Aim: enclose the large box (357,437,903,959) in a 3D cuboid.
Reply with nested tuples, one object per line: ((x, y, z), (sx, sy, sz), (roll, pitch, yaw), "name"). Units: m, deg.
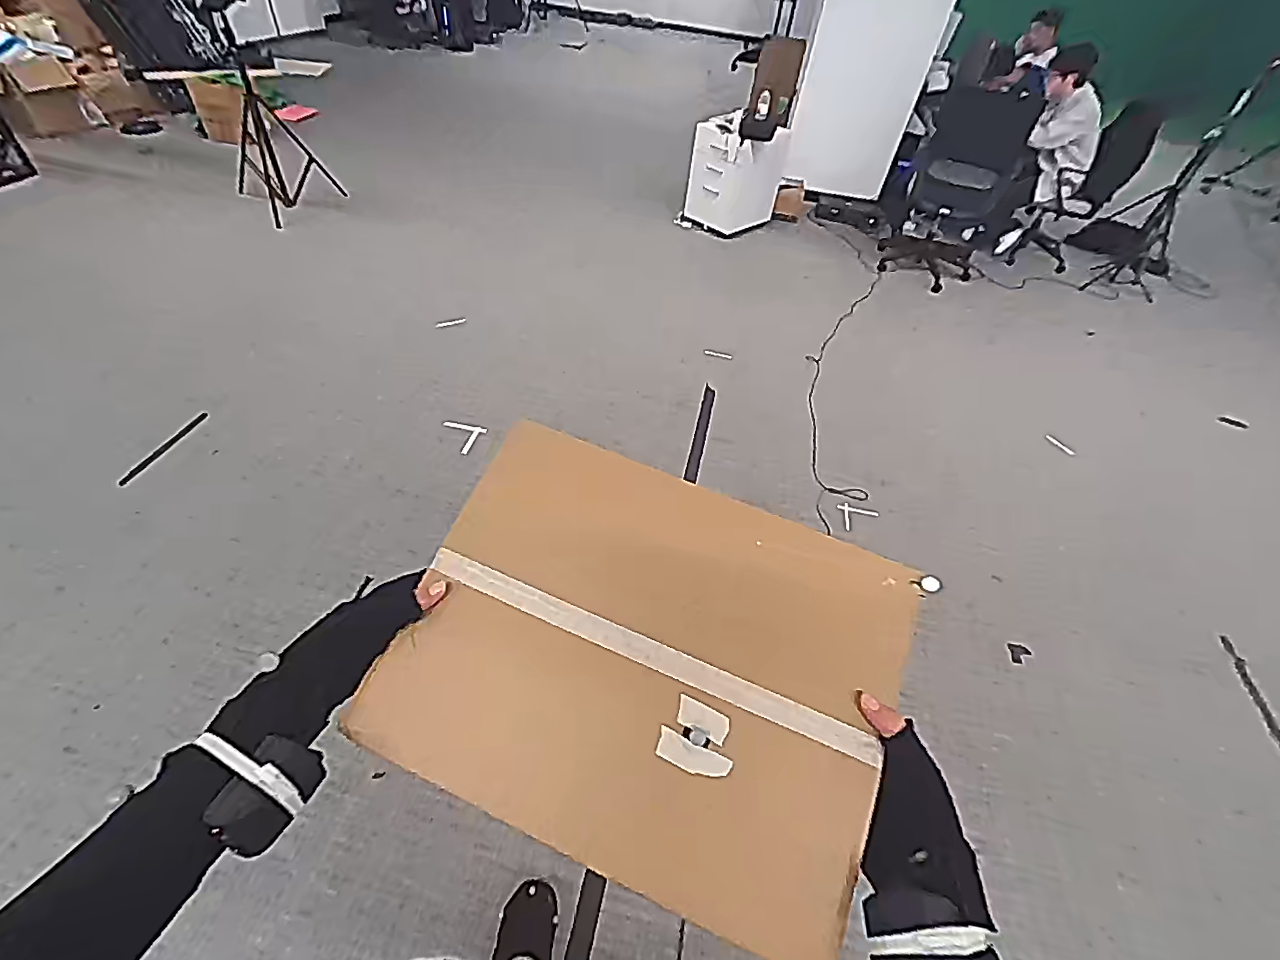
((0.002, 0.208, 0.608), (0.408, 0.320, 0.320), (21, 70, 9), "large box")
